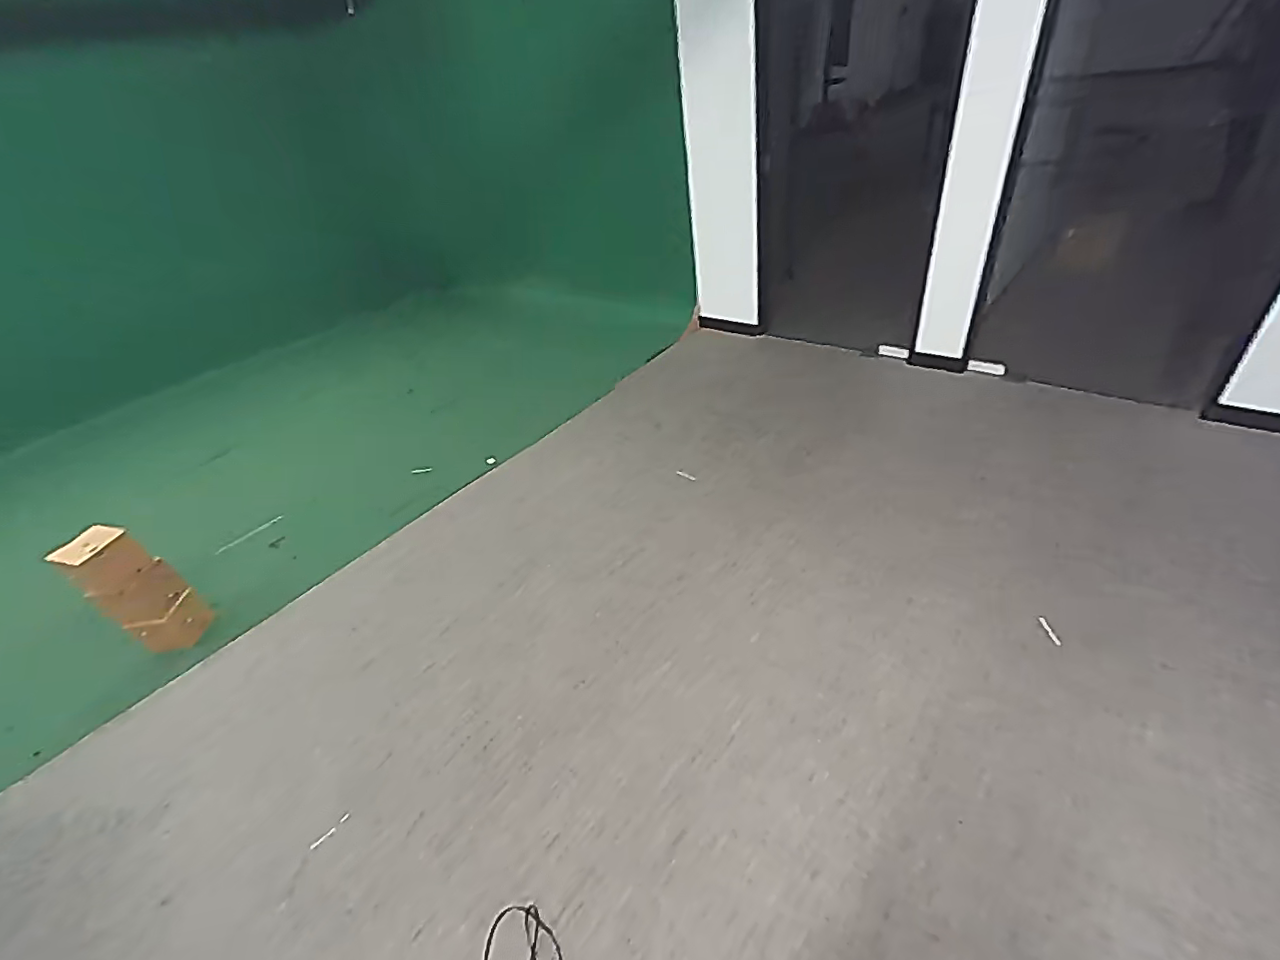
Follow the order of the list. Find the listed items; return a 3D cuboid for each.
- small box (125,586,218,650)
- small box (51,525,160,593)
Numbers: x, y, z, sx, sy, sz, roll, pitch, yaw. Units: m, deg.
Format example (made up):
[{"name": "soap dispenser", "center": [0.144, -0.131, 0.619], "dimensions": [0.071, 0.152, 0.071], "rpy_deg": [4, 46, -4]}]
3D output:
[{"name": "small box", "center": [-1.797, 0.535, 2.087], "dimensions": [0.179, 0.176, 0.168], "rpy_deg": [-9, 38, 3]}, {"name": "small box", "center": [-1.862, 0.278, 1.892], "dimensions": [0.179, 0.176, 0.168], "rpy_deg": [4, 40, 18]}]
